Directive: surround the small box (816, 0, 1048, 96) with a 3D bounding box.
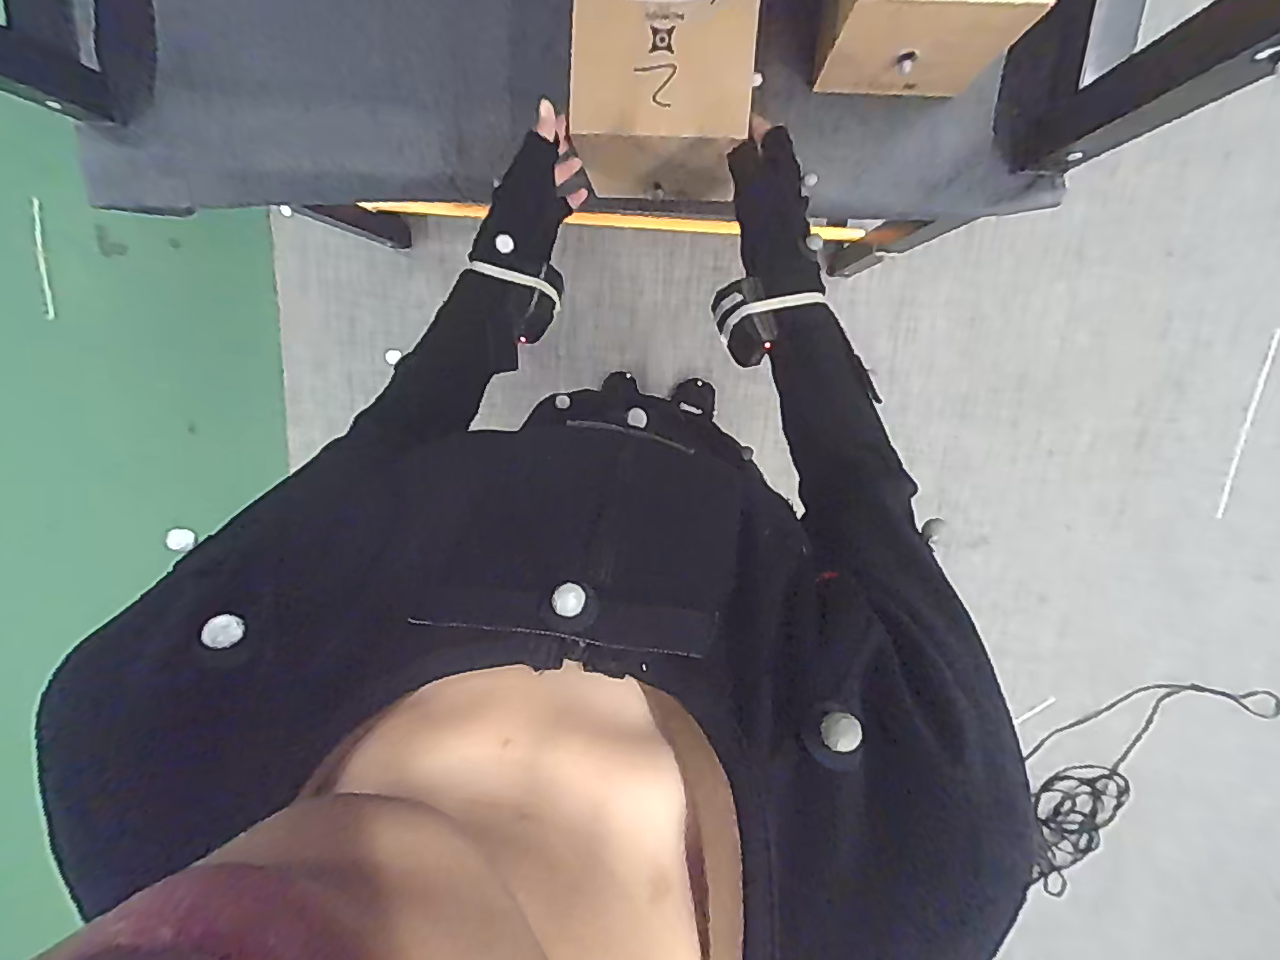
[{"bbox_3d":[0.279,-0.508,0.526,0.168,0.176,0.179,4,102,3],"label":"small box"}]
